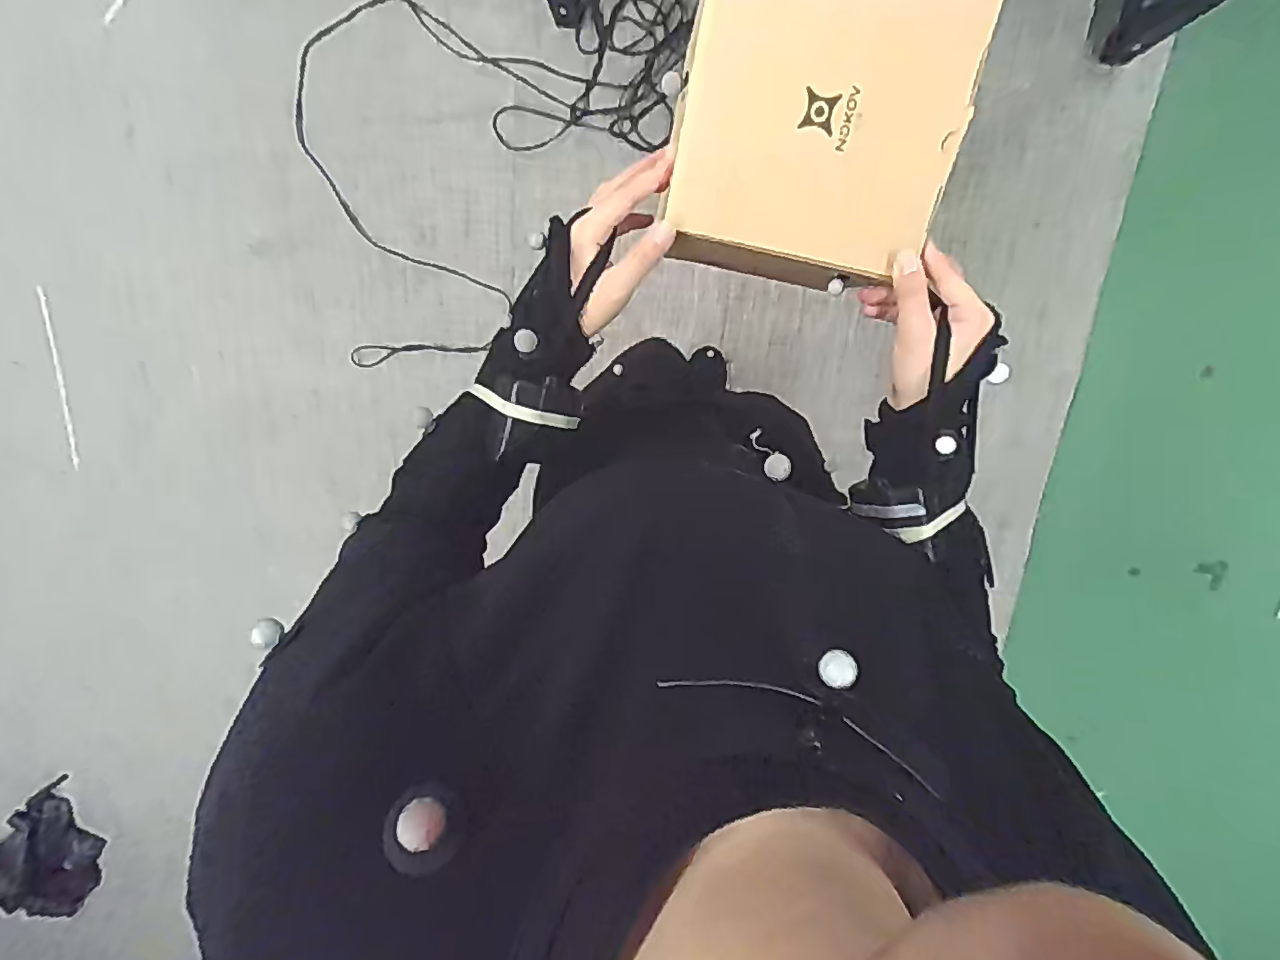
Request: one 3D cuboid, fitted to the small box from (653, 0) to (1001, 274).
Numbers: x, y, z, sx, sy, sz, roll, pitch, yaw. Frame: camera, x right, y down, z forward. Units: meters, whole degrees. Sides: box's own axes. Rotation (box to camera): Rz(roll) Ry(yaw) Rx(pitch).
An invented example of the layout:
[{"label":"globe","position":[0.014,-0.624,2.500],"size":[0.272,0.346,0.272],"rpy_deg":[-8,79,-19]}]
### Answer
[{"label":"small box","position":[0.110,-0.256,0.402],"size":[0.179,0.176,0.168],"rpy_deg":[9,107,-6]}]
